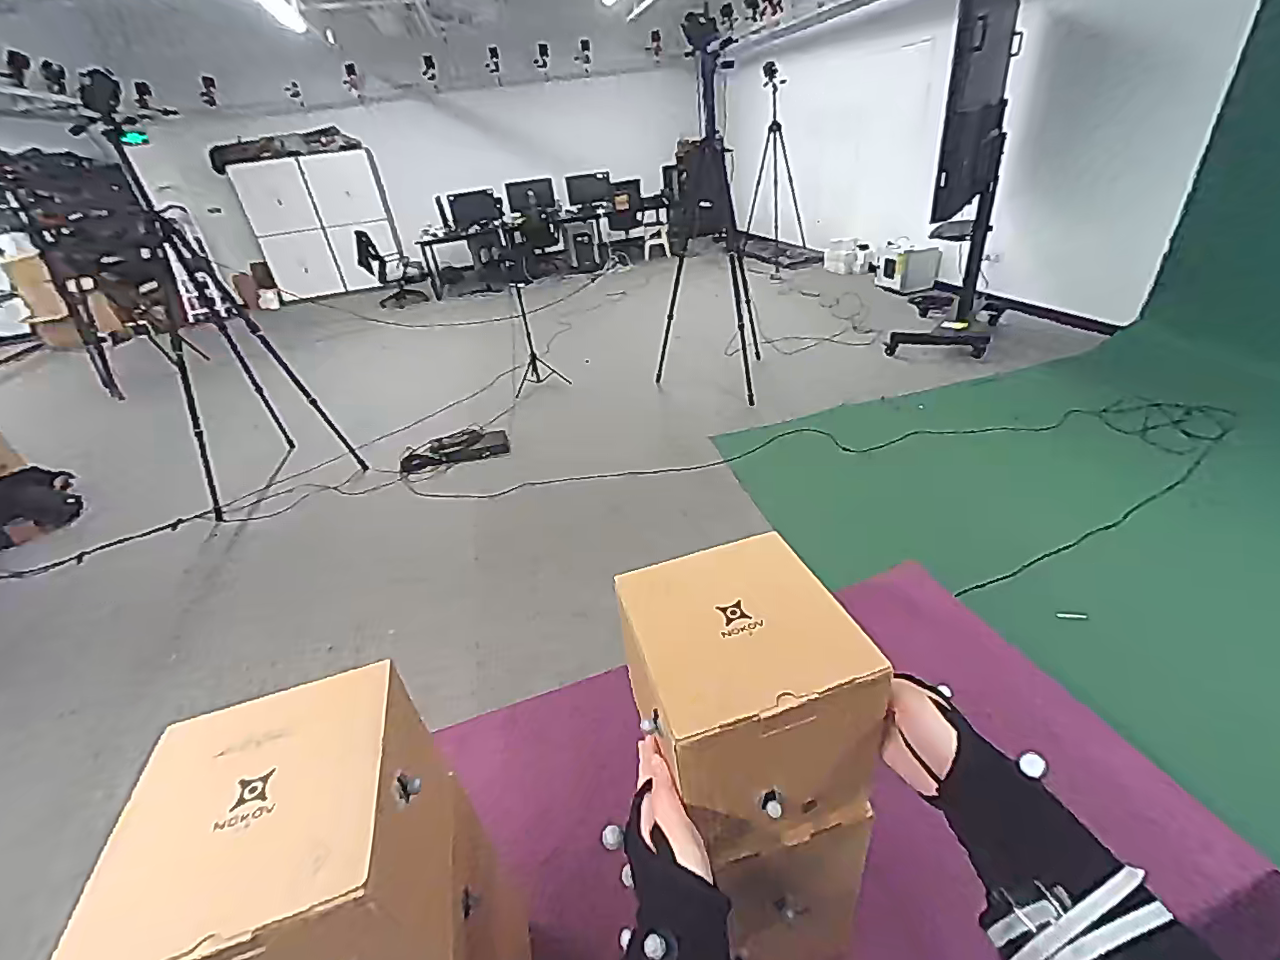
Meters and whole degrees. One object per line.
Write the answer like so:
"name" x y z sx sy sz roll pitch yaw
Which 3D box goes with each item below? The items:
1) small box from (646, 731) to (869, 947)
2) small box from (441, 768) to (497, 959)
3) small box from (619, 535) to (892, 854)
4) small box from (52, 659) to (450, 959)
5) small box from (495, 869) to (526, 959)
"small box" 0.104 0.323 0.556 0.168 0.176 0.179 -13 33 -8
"small box" -0.230 0.408 0.488 0.168 0.176 0.179 -13 32 -9
"small box" 0.086 0.180 0.479 0.168 0.176 0.179 -14 34 -10
"small box" -0.245 0.273 0.398 0.168 0.176 0.179 -13 32 -11
"small box" -0.213 0.550 0.570 0.168 0.176 0.179 -13 34 -11
